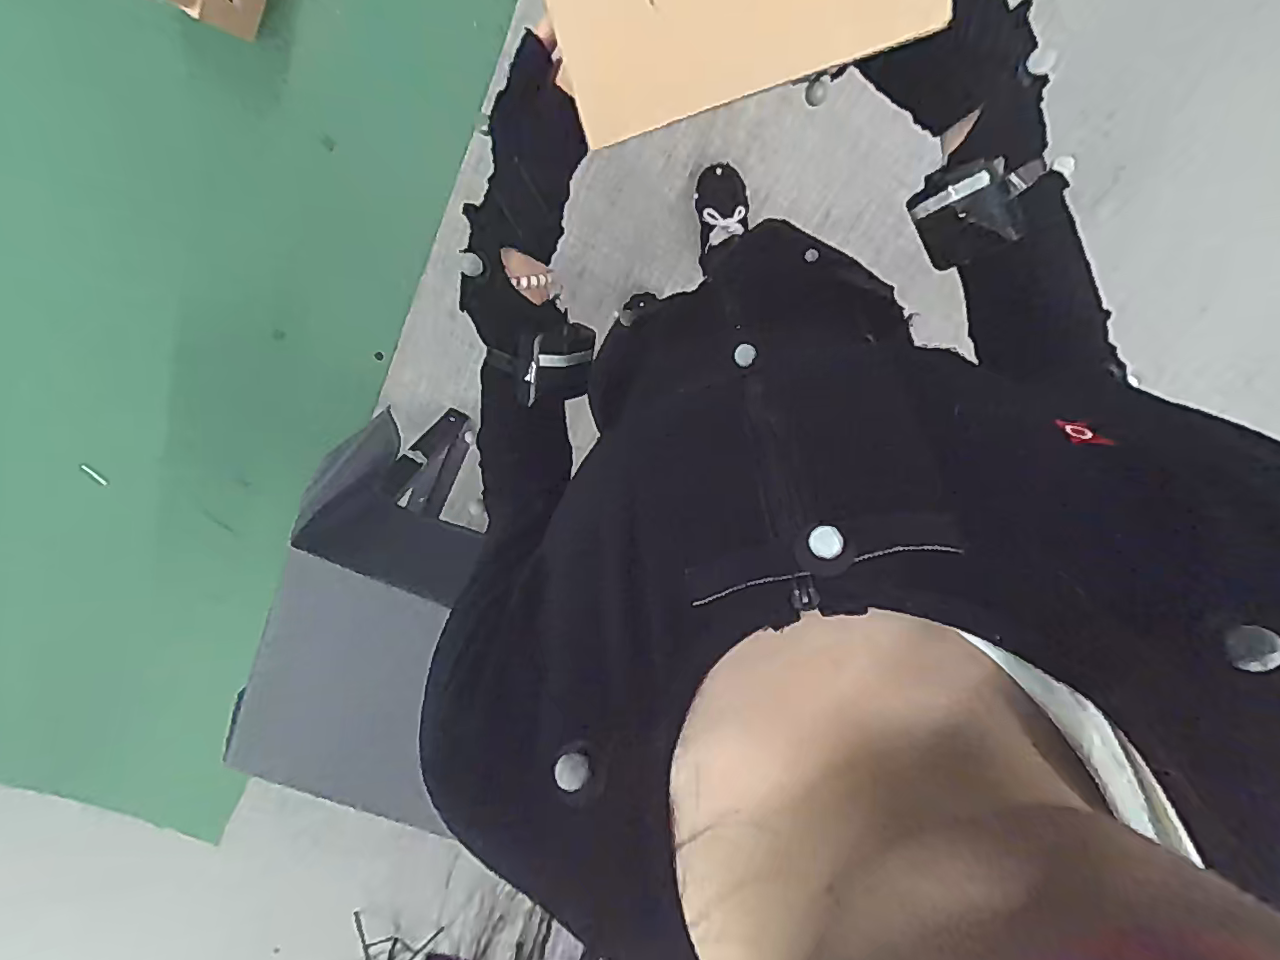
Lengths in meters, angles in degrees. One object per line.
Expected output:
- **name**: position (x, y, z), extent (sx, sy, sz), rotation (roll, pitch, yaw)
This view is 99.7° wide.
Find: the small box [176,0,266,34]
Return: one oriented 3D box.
- **small box**: position (-0.840, -1.001, 1.031), extent (0.179, 0.176, 0.168), rotation (32, 113, -13)
